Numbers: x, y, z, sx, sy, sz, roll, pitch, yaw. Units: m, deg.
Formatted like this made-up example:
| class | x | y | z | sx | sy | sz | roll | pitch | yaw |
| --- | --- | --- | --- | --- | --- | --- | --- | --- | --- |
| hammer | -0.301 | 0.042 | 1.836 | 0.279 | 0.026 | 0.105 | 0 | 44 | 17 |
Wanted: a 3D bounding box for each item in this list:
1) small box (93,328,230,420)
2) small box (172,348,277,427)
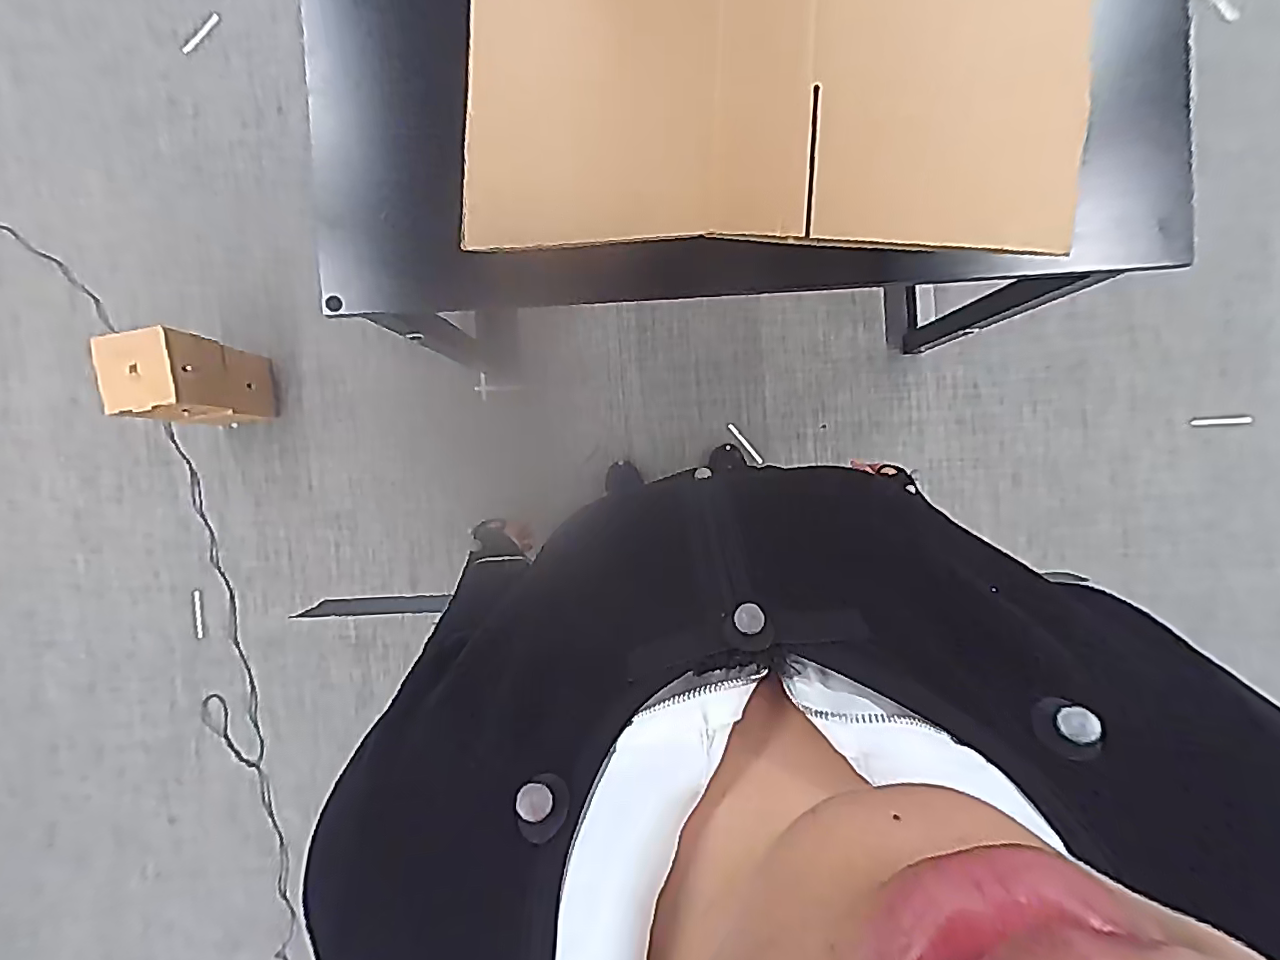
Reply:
| class | x | y | z | sx | sy | sz | roll | pitch | yaw |
| --- | --- | --- | --- | --- | --- | --- | --- | --- | --- |
| small box | -1.111 | -0.240 | 1.272 | 0.168 | 0.176 | 0.179 | -10 | 91 | 1 |
| small box | -1.105 | -0.240 | 1.434 | 0.168 | 0.176 | 0.179 | -7 | 93 | 2 |
